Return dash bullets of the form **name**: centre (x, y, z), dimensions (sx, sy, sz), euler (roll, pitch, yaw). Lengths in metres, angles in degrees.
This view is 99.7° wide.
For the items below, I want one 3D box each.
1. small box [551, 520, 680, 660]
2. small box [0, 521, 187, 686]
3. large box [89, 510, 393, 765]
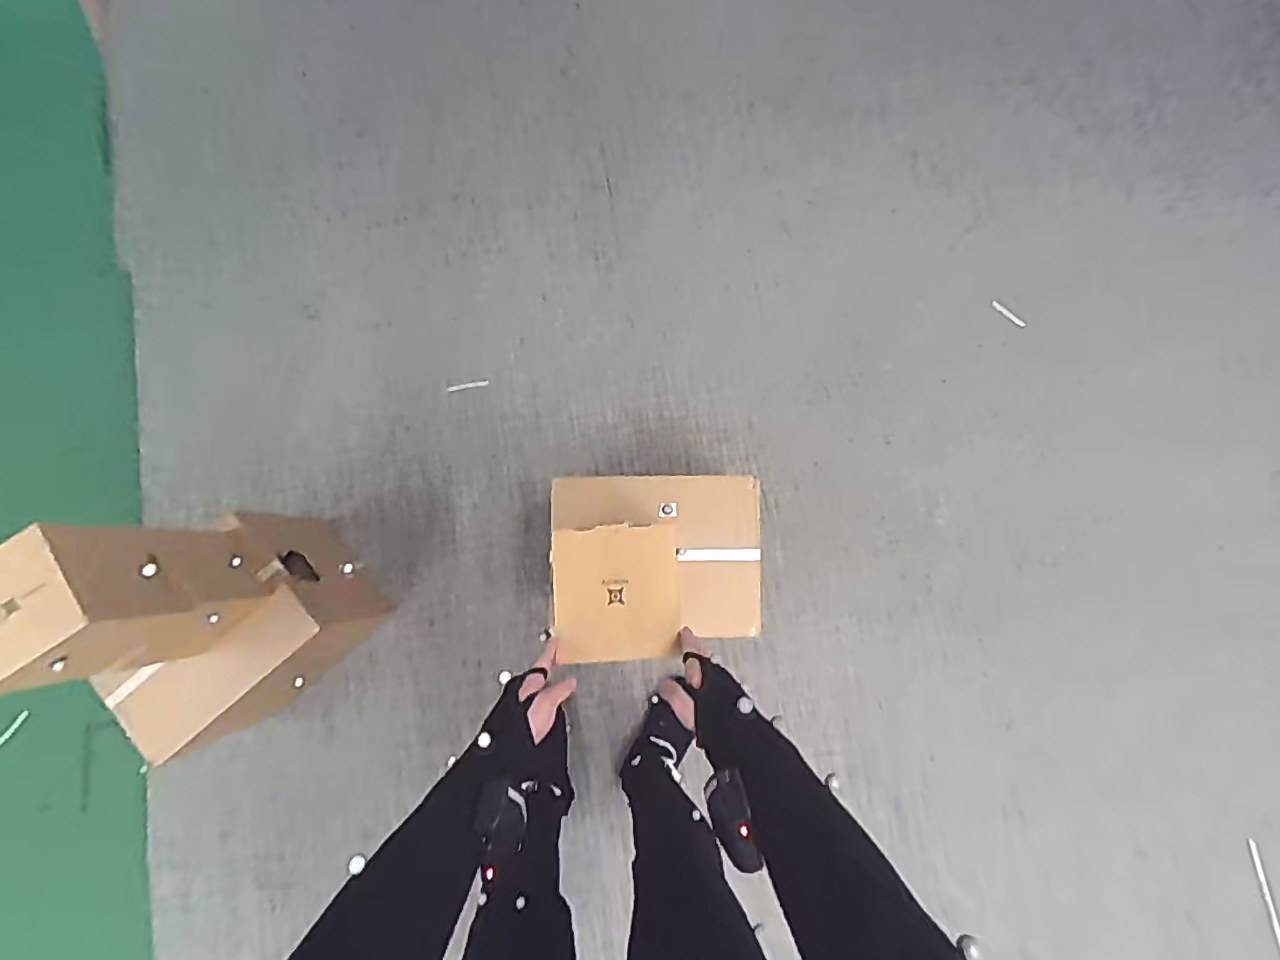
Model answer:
- **small box**: centre (-0.030, 0.152, 0.786), dimensions (0.168, 0.176, 0.179), euler (-4, 82, 1)
- **small box**: centre (-0.840, 0.180, 0.797), dimensions (0.179, 0.176, 0.168), euler (-34, 83, -3)
- **large box**: centre (-0.853, 0.314, 1.194), dimensions (0.408, 0.320, 0.320), euler (-41, 83, -3)
